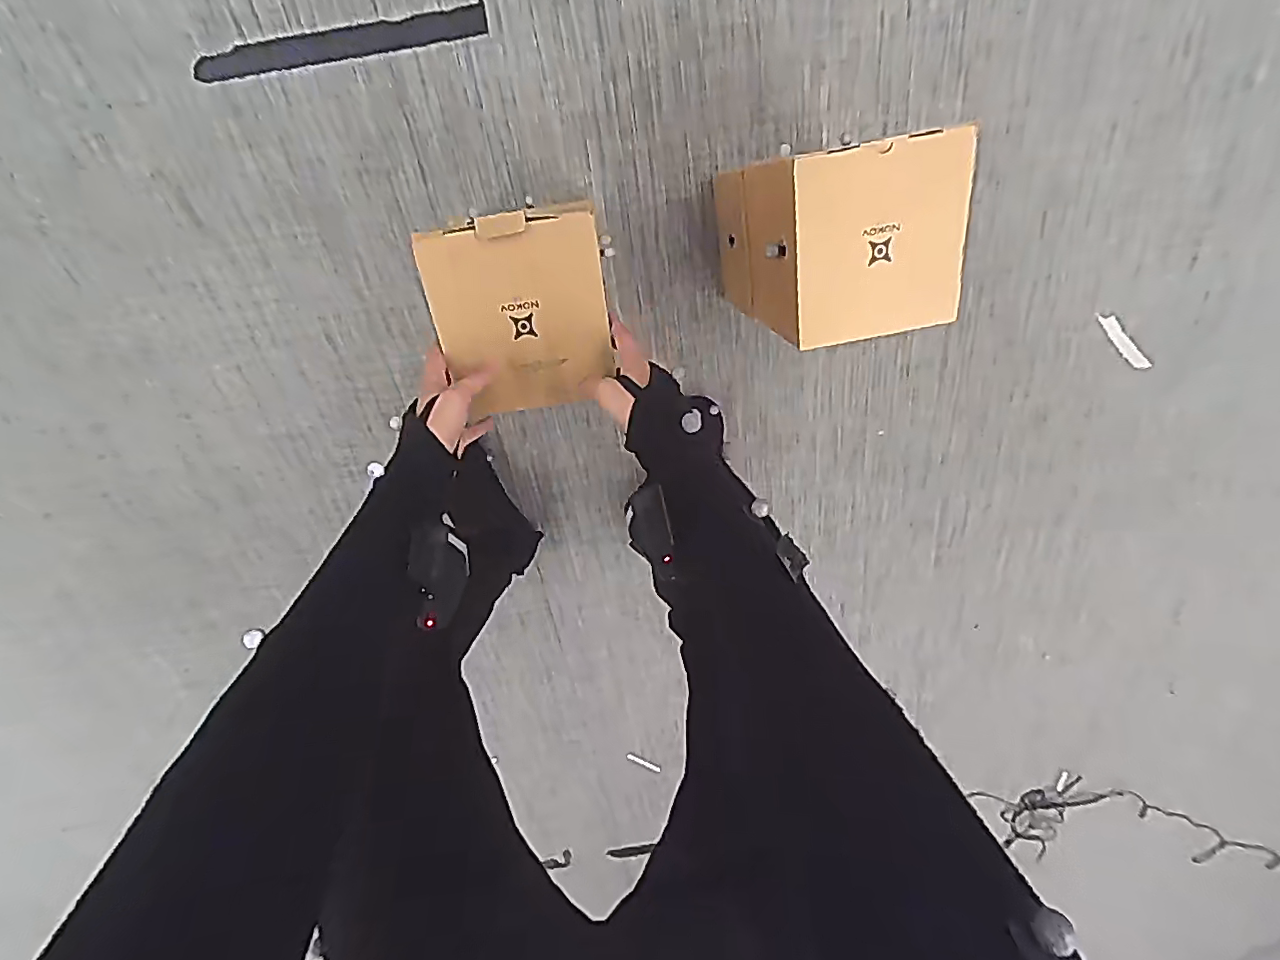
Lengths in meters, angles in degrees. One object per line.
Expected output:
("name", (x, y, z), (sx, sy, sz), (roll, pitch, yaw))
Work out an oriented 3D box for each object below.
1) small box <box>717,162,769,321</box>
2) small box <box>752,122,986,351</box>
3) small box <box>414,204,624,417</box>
("small box", (0.205, -0.328, 0.716), (0.168, 0.176, 0.179), (-11, 117, 0))
("small box", (0.223, -0.254, 0.572), (0.168, 0.176, 0.179), (-11, 117, 0))
("small box", (-0.113, -0.185, 0.572), (0.168, 0.176, 0.179), (-8, 118, -1))
